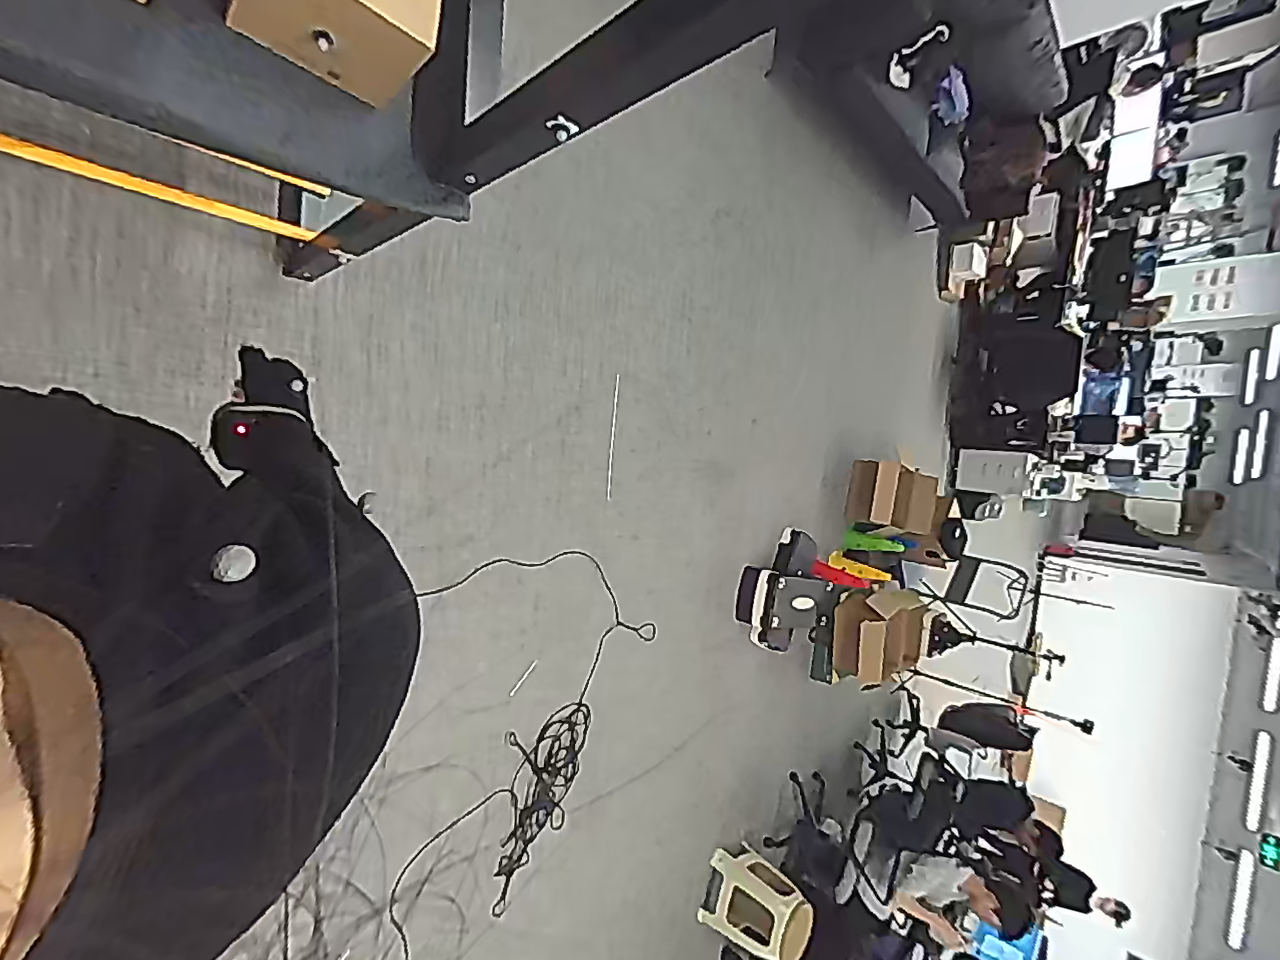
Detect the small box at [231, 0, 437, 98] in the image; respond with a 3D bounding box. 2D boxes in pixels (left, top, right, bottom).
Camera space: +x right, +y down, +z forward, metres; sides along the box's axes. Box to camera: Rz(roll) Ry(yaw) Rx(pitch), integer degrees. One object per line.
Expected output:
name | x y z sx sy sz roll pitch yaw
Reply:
small box | -0.333 -0.573 0.594 0.168 0.176 0.179 7 90 -46
